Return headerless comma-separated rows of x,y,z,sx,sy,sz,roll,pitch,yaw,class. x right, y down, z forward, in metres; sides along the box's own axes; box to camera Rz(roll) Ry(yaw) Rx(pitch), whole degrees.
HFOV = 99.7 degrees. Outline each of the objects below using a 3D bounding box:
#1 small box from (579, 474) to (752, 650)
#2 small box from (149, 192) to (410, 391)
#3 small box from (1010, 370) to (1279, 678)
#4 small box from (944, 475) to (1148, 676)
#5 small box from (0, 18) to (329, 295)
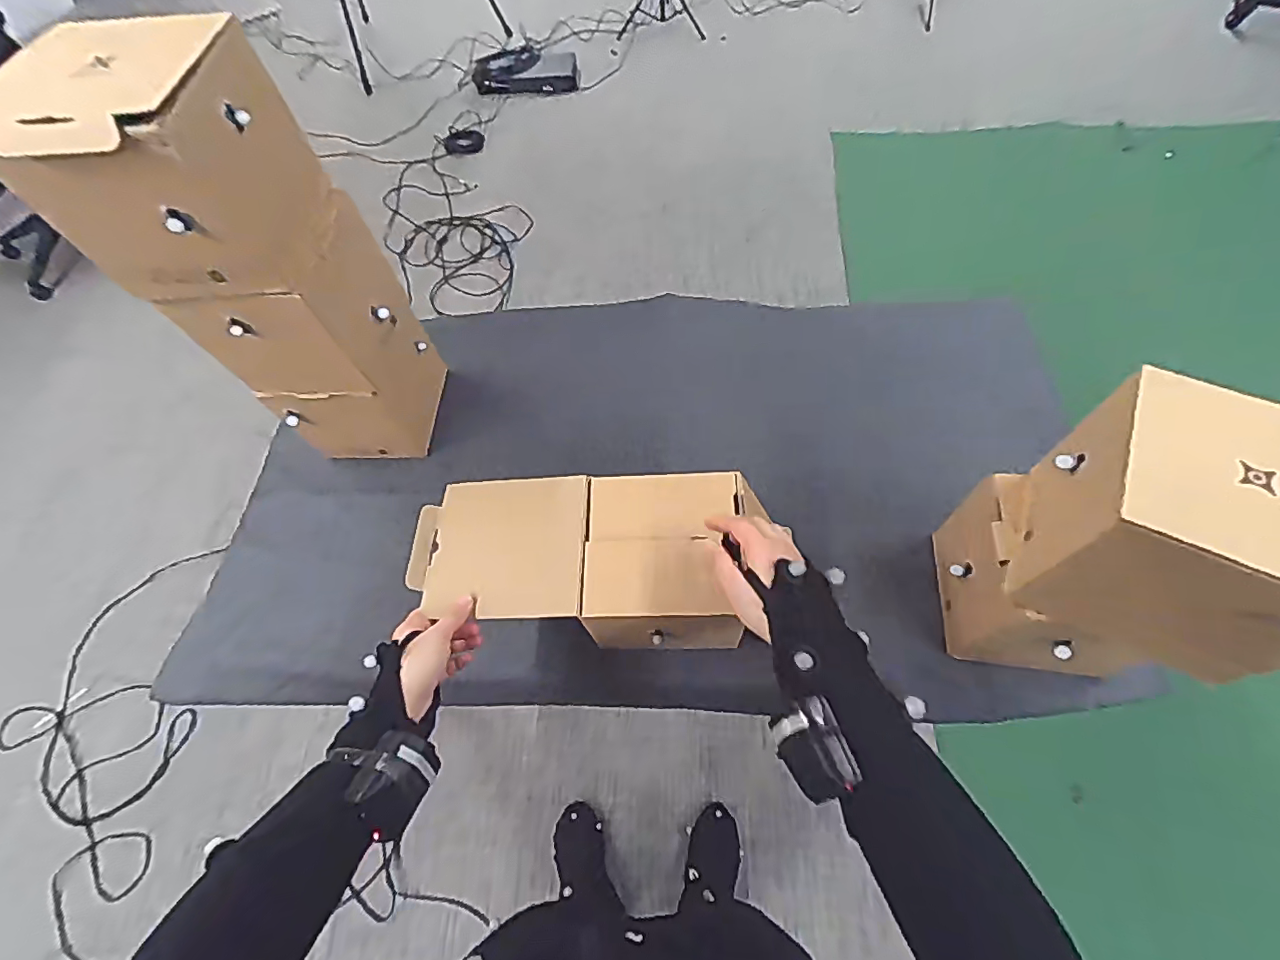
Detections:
0.032,0.103,0.646,0.179,0.176,0.168,-2,62,5,small box
-0.417,-0.222,0.662,0.179,0.176,0.168,1,64,4,small box
0.455,0.044,0.455,0.179,0.176,0.168,25,64,17,small box
0.464,0.112,0.605,0.179,0.176,0.168,5,60,8,small box
-0.435,-0.295,0.518,0.168,0.176,0.179,-2,62,1,small box
